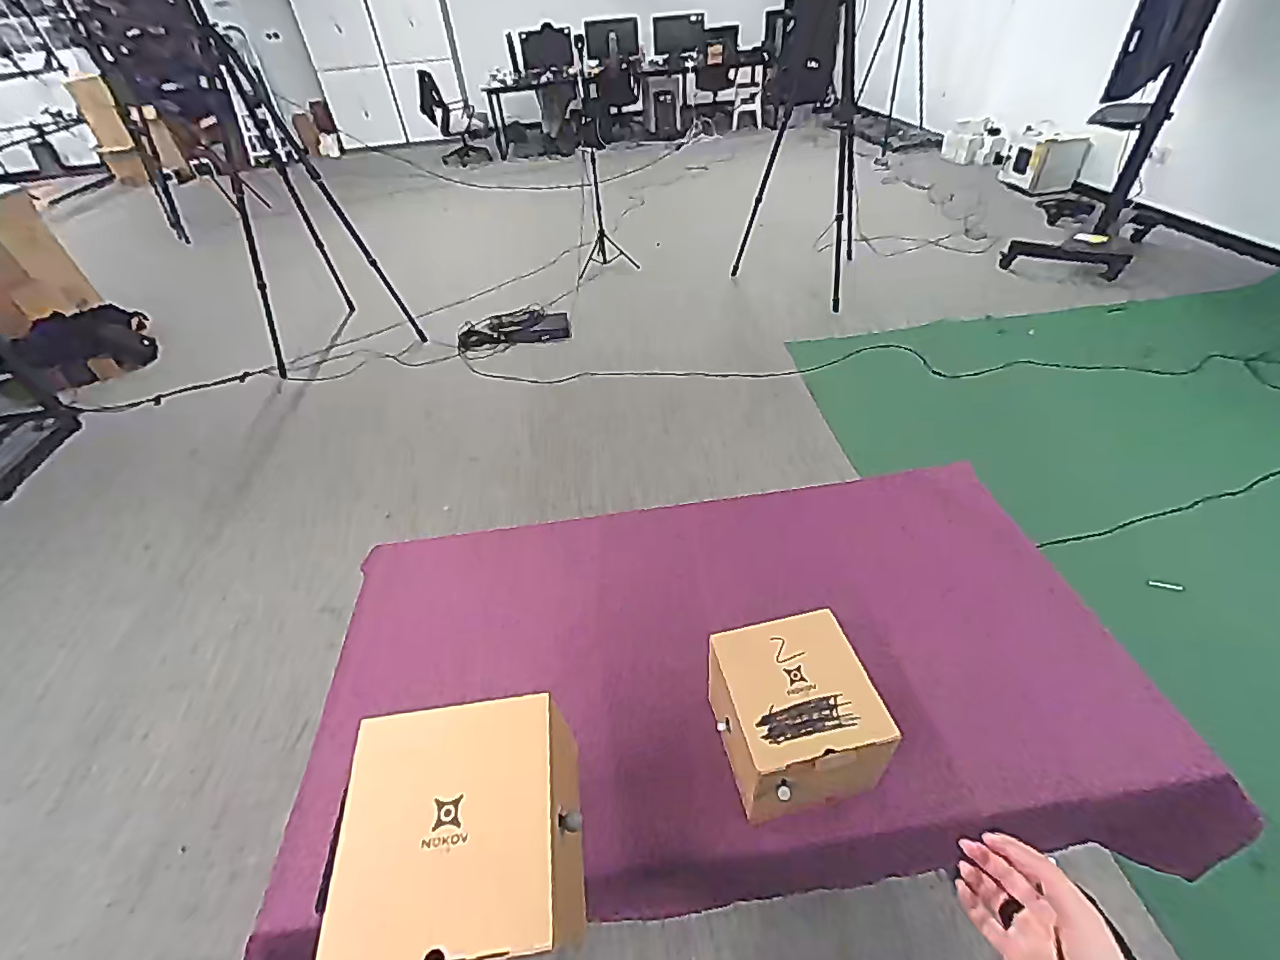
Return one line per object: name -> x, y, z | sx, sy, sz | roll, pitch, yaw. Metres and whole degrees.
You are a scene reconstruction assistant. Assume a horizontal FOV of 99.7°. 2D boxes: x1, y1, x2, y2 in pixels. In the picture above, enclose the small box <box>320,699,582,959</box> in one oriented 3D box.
small box -> -0.146, 0.321, 0.487 | 0.168, 0.176, 0.179 | -7, 51, -2
